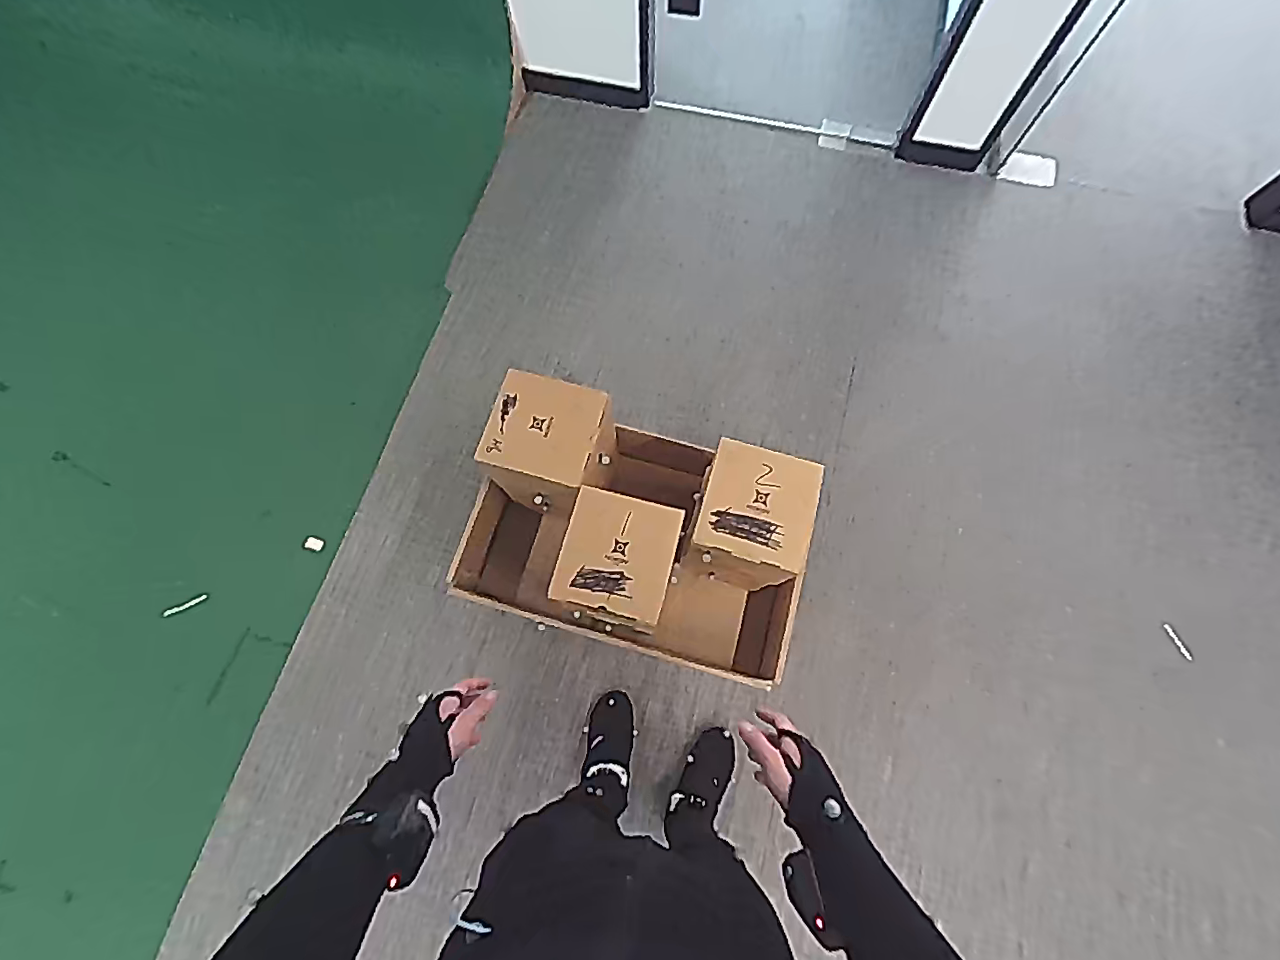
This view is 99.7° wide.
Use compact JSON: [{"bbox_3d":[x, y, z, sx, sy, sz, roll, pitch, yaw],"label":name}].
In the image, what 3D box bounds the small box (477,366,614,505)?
[{"bbox_3d":[-0.149,-0.067,0.928,0.179,0.176,0.168,16,74,4],"label":"small box"}]
